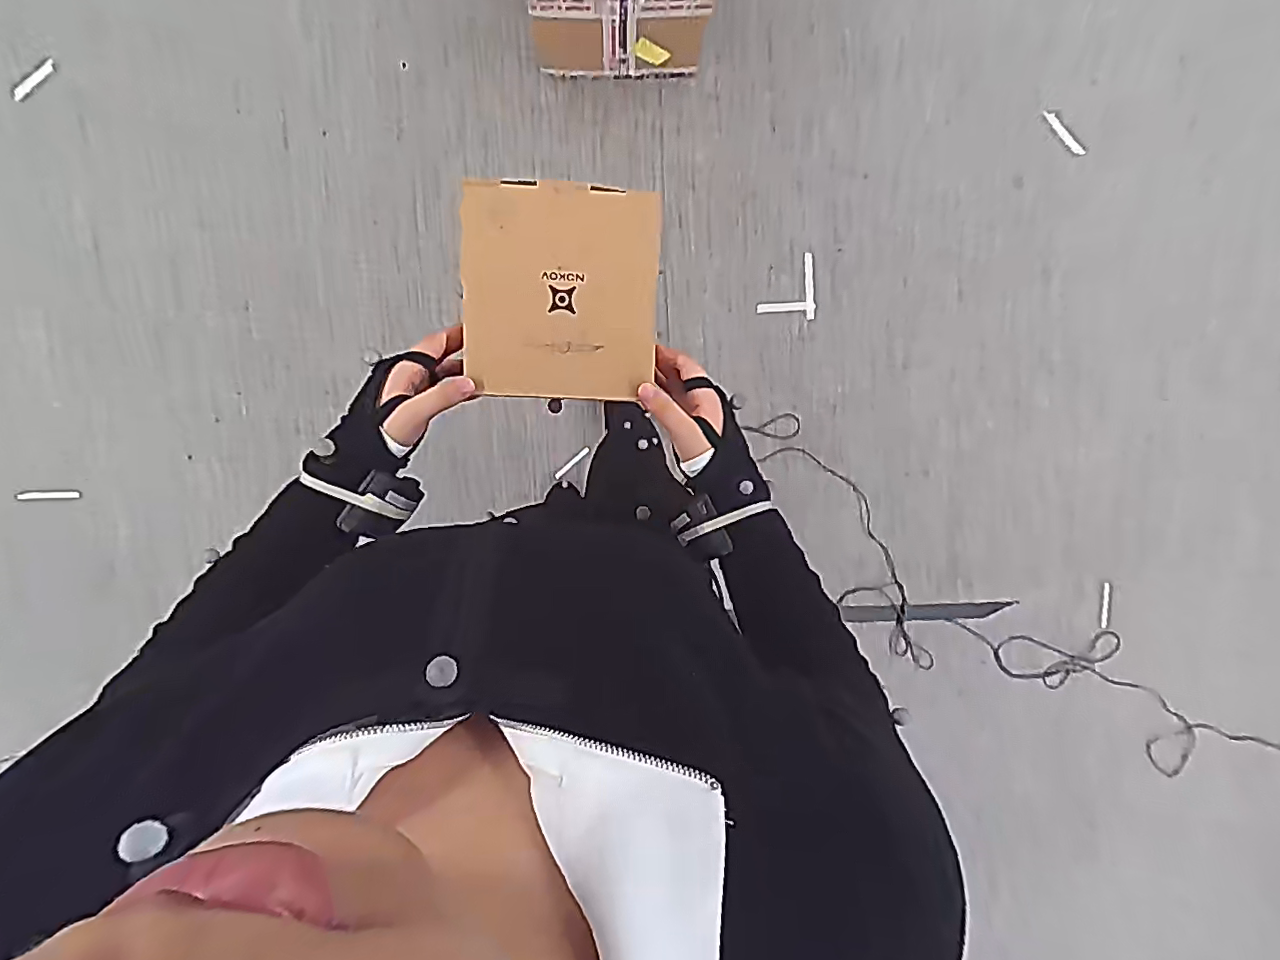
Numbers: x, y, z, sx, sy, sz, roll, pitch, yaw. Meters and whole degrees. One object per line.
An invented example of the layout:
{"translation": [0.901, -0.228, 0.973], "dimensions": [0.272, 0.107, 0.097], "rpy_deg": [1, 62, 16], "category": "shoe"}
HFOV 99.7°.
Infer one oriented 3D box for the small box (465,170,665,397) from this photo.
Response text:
{"translation": [-0.072, -0.175, 0.536], "dimensions": [0.168, 0.176, 0.179], "rpy_deg": [2, 99, -6], "category": "small box"}
